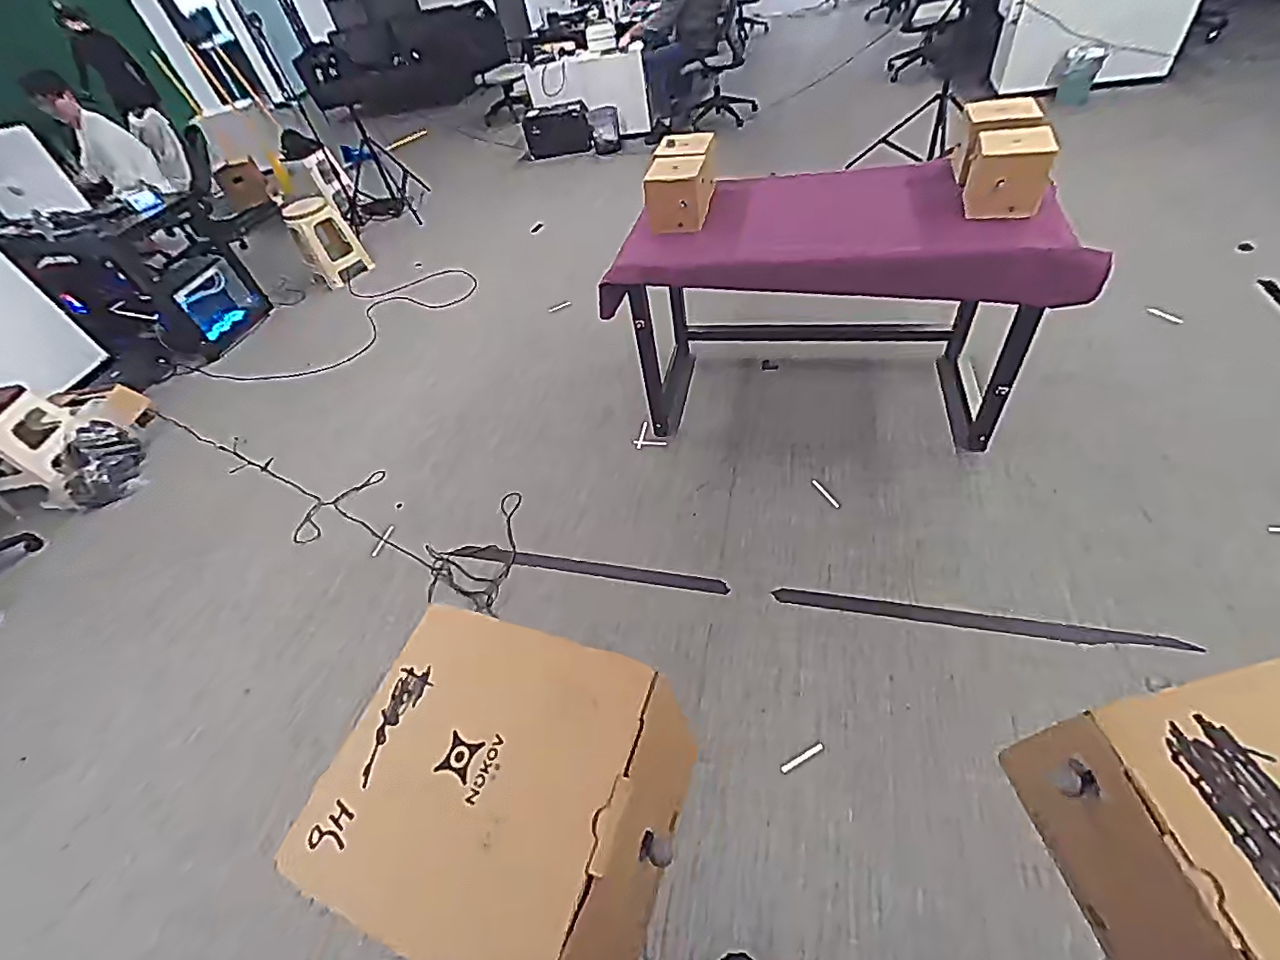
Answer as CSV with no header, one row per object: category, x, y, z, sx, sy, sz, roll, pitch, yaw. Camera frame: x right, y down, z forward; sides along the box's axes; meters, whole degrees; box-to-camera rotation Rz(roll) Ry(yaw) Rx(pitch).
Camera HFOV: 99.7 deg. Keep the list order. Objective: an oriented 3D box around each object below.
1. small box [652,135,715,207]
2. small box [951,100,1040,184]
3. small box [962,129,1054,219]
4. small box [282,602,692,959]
small box,0.153,-1.048,1.842,0.179,0.176,0.168,7,52,16
small box,1.042,-0.996,1.603,0.179,0.176,0.168,6,51,16
small box,0.991,-0.825,1.469,0.168,0.176,0.179,8,50,20
small box,-0.074,0.210,0.366,0.179,0.176,0.168,10,55,22
